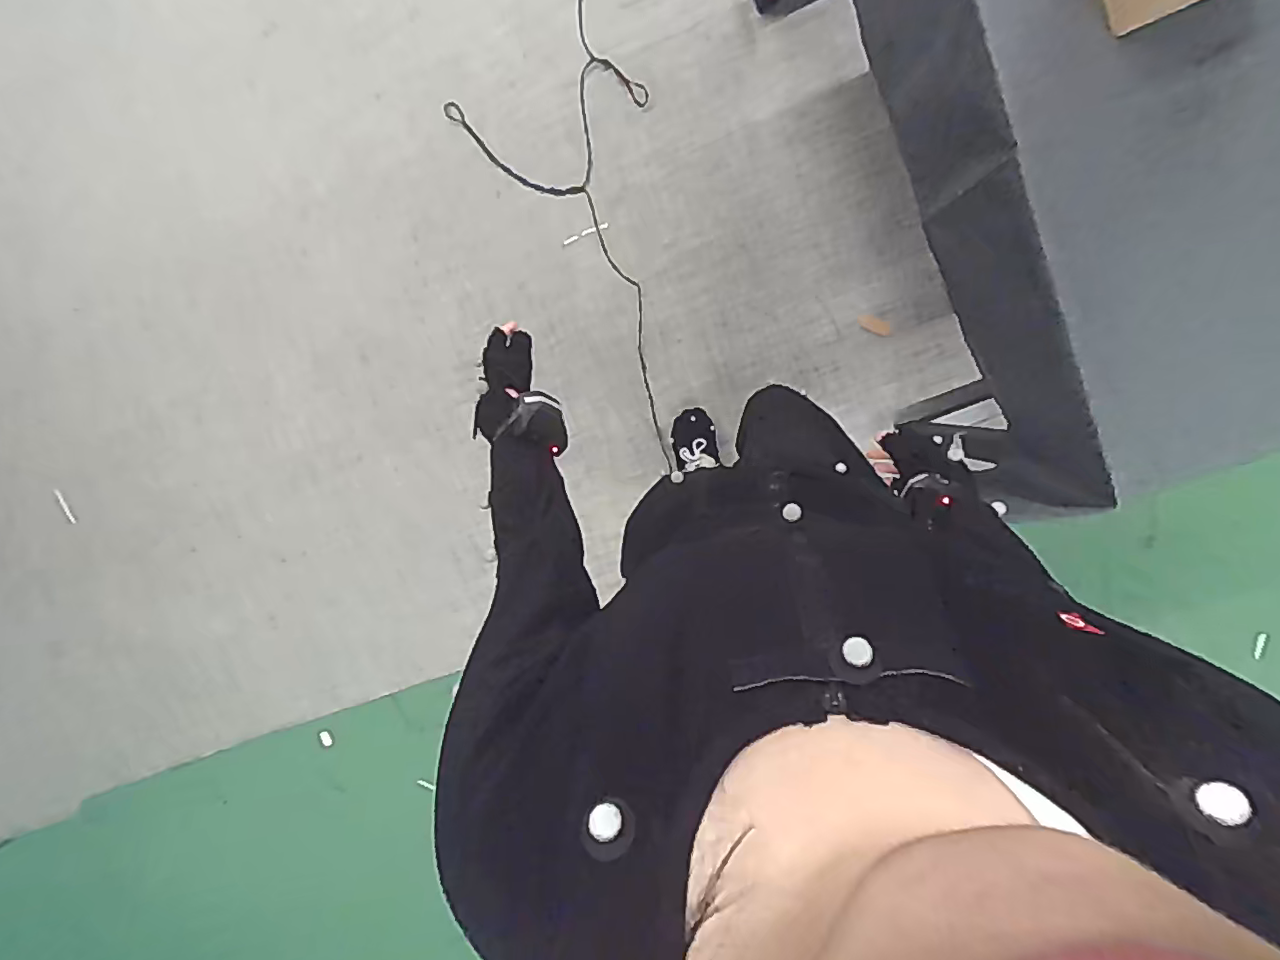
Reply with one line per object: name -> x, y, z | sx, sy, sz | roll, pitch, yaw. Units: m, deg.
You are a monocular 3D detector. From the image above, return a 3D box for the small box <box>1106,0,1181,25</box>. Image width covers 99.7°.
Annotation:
small box -> 0.602, -0.621, 0.543 | 0.179, 0.176, 0.168 | -22, 97, 6
